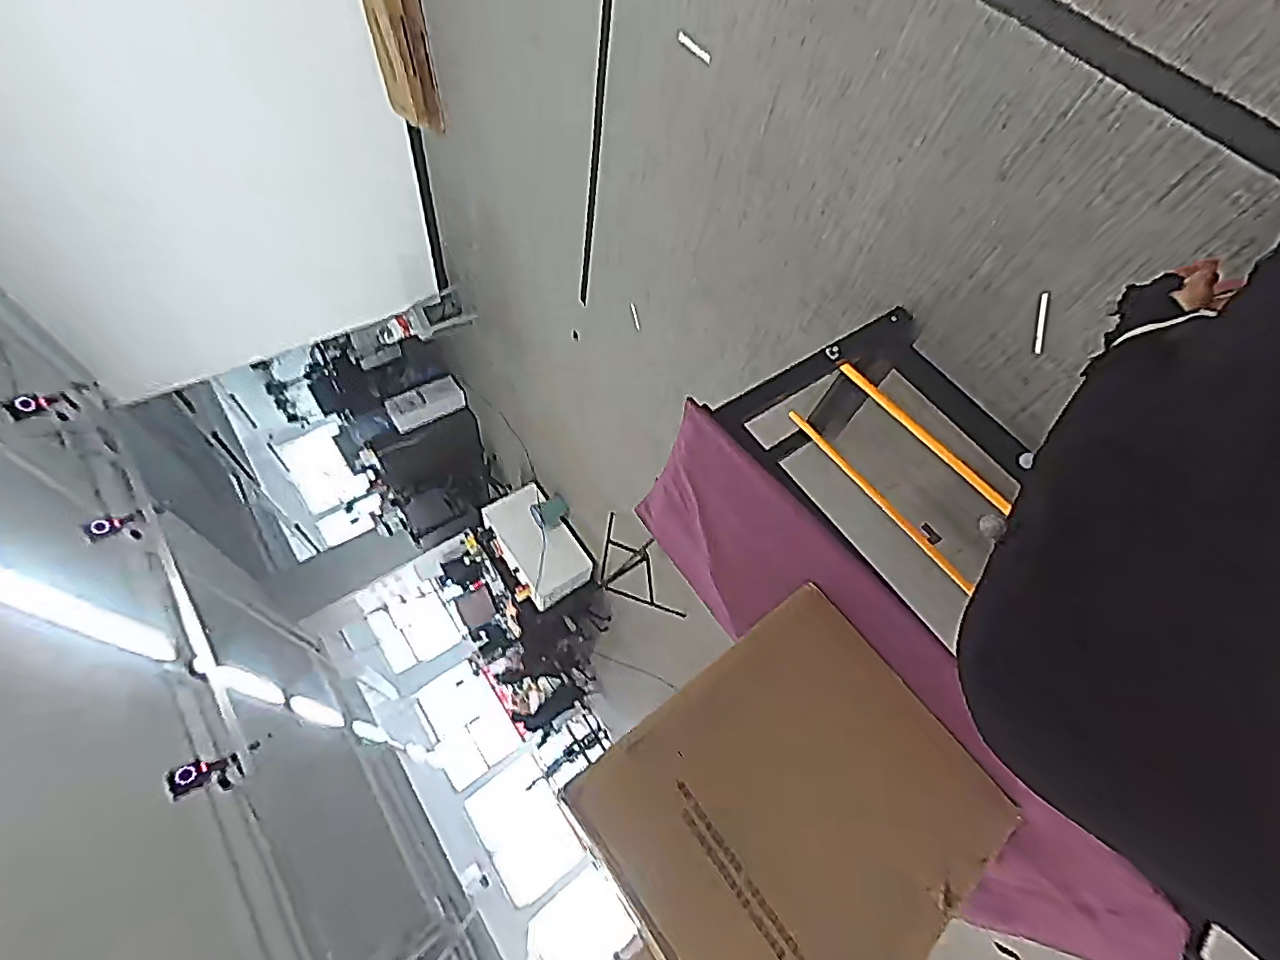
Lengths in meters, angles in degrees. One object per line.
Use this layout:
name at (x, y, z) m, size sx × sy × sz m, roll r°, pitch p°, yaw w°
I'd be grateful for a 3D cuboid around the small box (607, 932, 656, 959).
small box at (-0.013, 0.946, 0.936) m, size 0.179 × 0.176 × 0.168 m, roll 51°, pitch 154°, yaw 23°
